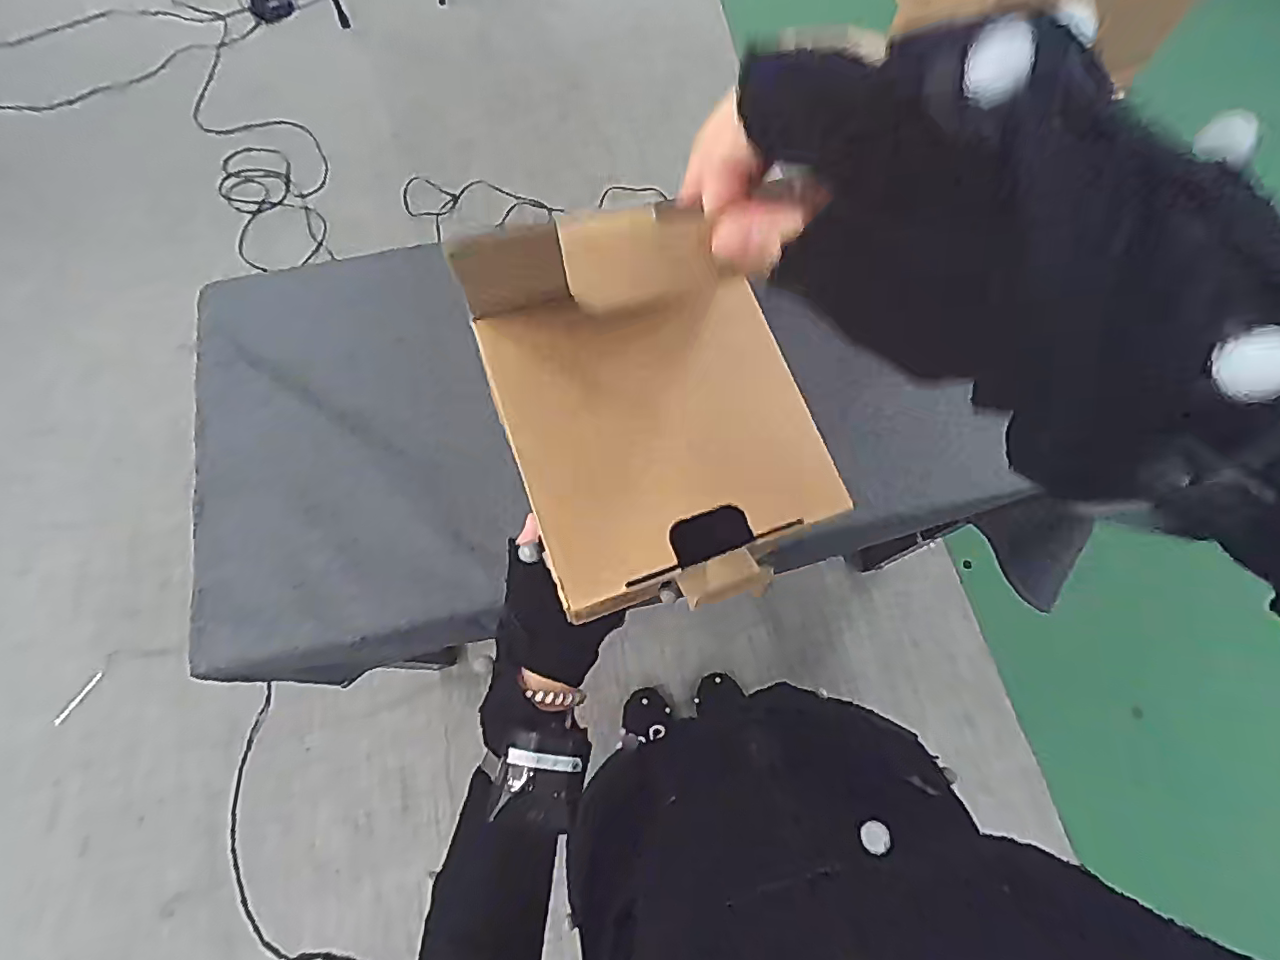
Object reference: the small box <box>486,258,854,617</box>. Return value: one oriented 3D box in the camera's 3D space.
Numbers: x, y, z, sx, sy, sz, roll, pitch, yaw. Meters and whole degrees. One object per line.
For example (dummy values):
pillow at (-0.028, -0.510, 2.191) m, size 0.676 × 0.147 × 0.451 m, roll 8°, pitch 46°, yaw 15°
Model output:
small box at (0.005, -0.014, 0.375) m, size 0.168 × 0.176 × 0.179 m, roll -17°, pitch 78°, yaw -11°

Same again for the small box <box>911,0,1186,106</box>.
small box at (0.353, -0.450, 0.454) m, size 0.179 × 0.176 × 0.168 m, roll -5°, pitch 70°, yaw 0°
